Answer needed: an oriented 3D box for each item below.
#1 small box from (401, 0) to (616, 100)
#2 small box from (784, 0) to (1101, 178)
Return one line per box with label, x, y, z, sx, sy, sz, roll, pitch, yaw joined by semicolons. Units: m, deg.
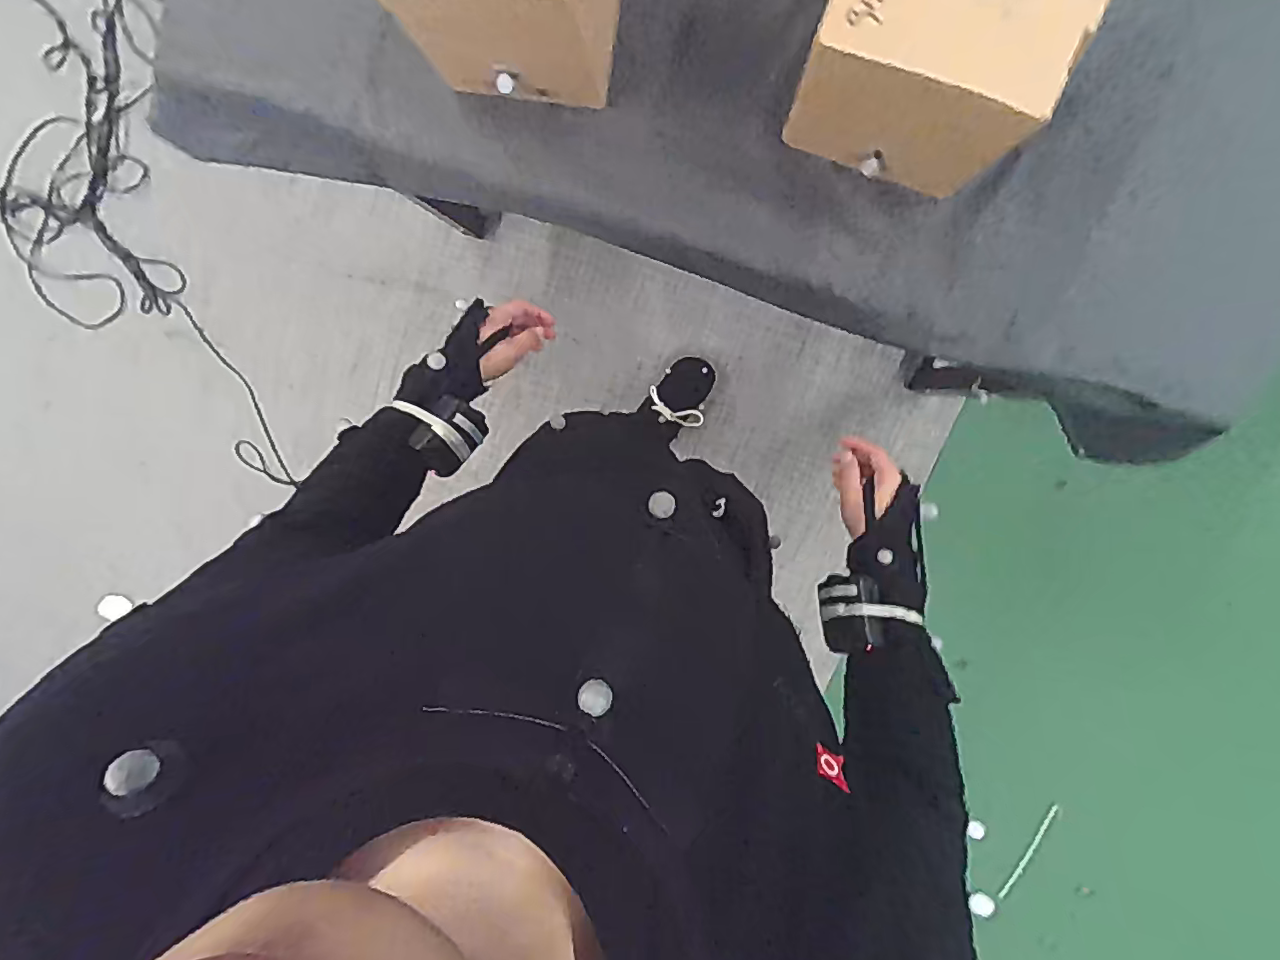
small box;-0.112;-0.469;0.460;0.168;0.176;0.179;10;102;4
small box;0.239;-0.375;0.440;0.179;0.176;0.168;20;102;1
